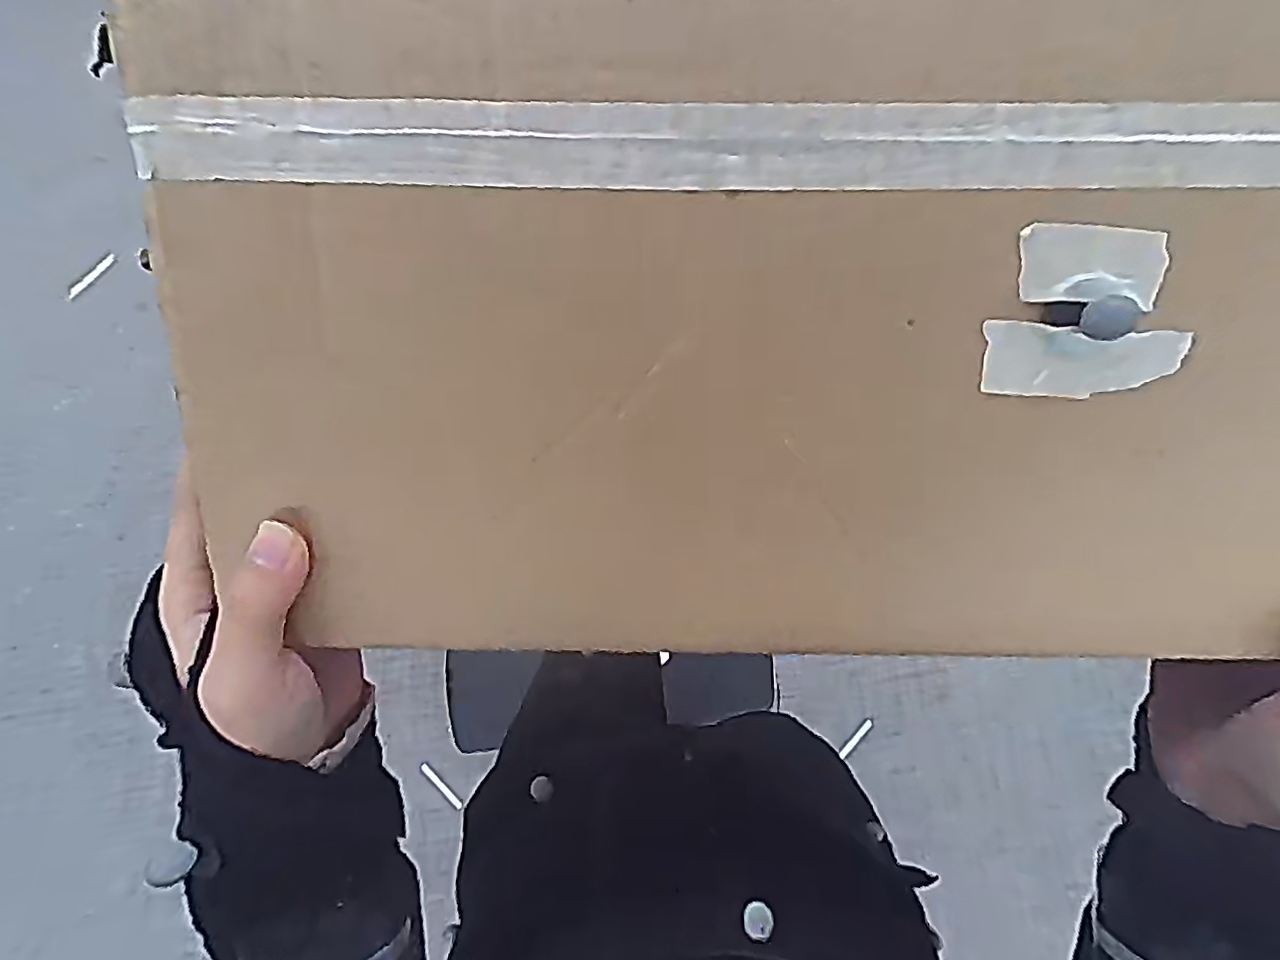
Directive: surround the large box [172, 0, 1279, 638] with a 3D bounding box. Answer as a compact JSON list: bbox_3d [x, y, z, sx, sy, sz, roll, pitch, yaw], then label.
[{"bbox_3d":[0.058,-0.124,0.313,0.408,0.320,0.320,0,102,-1],"label":"large box"}]
